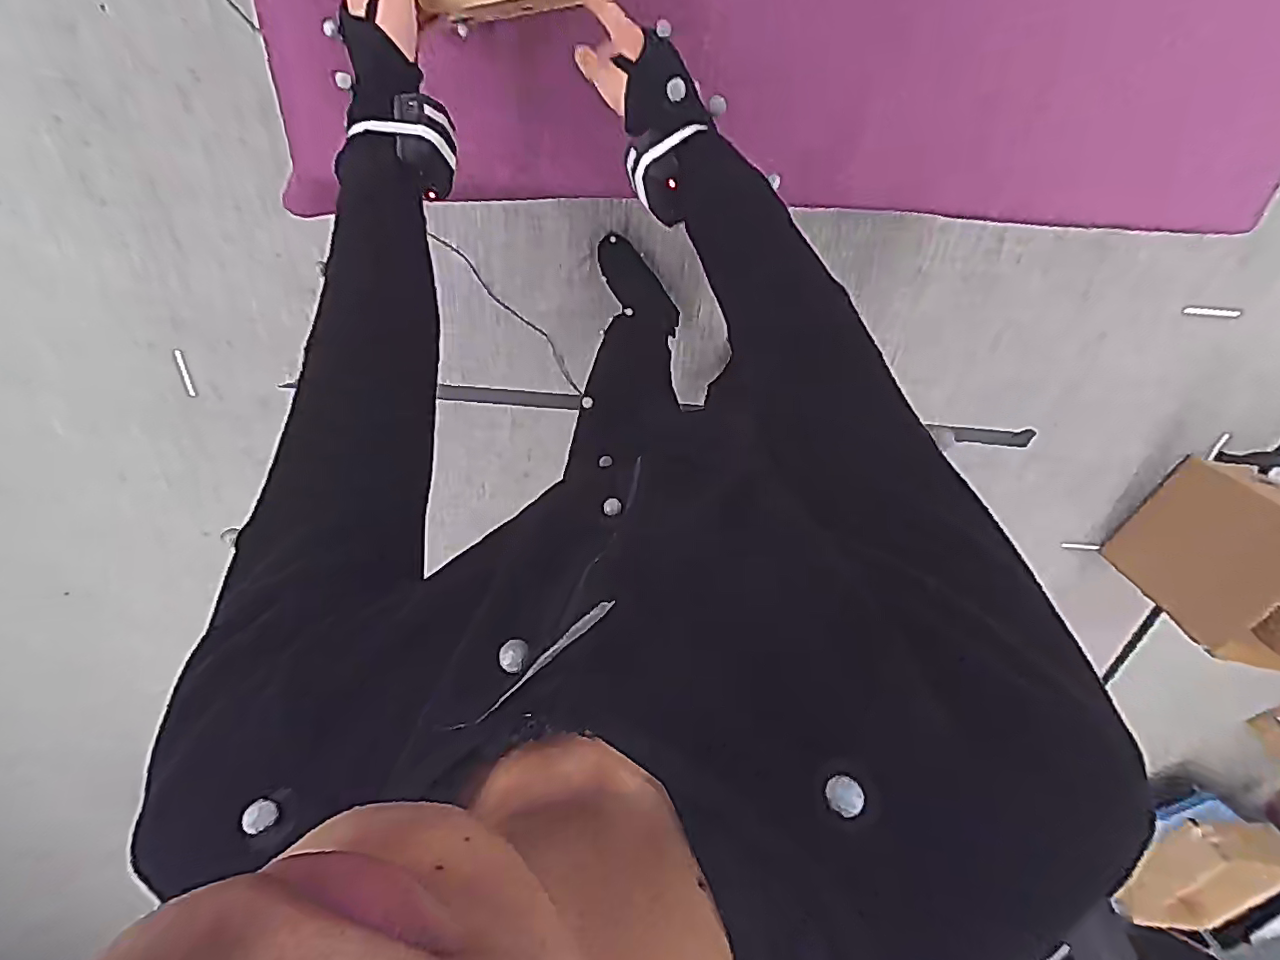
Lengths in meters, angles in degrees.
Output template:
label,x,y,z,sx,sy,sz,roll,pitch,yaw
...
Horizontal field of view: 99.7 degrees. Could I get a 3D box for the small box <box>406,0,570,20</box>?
label,x,y,z,sx,sy,sz,roll,pitch,yaw
small box,-0.154,-0.543,0.483,0.168,0.176,0.179,-7,120,4
